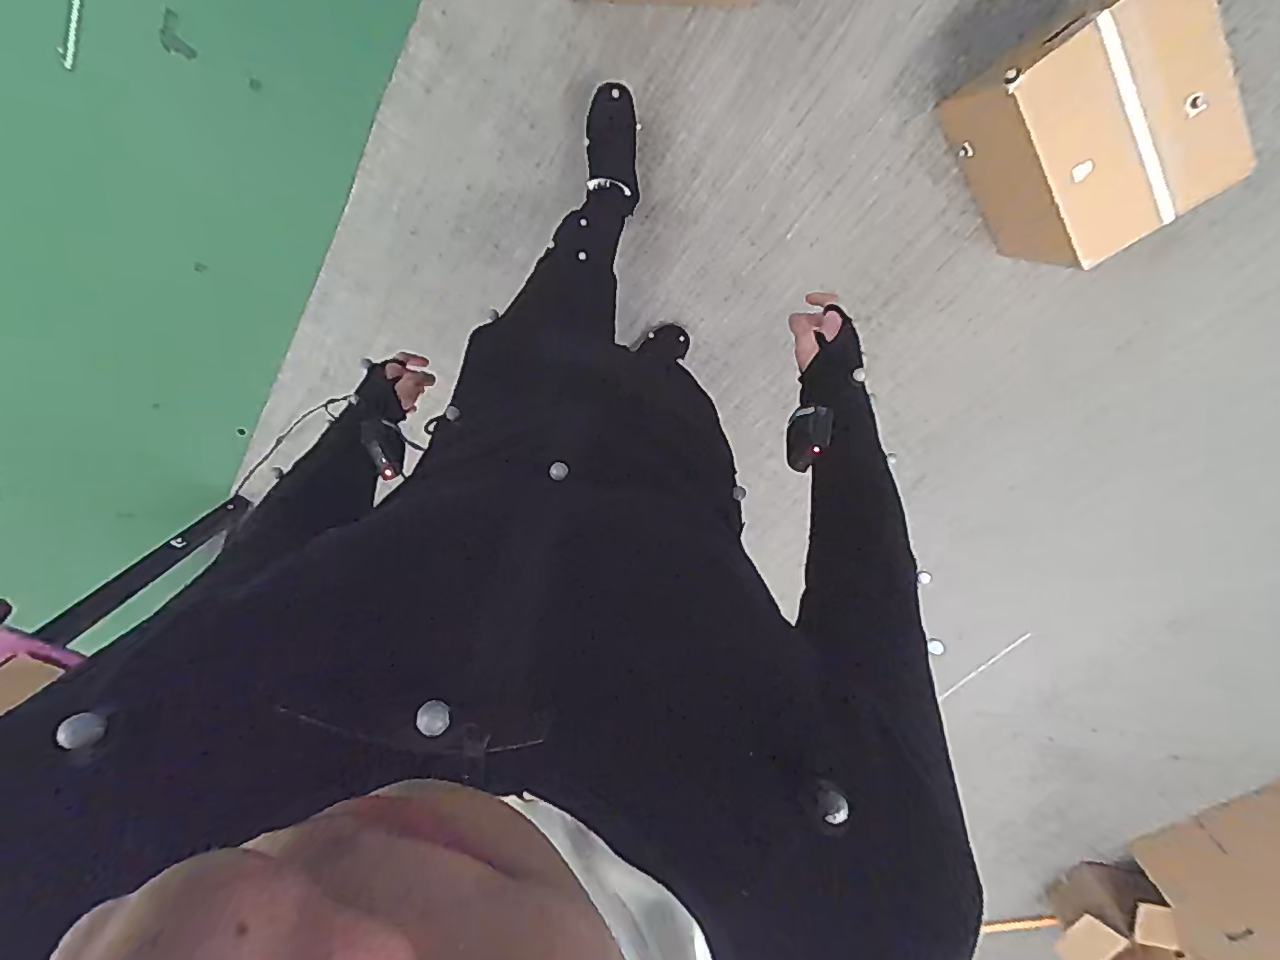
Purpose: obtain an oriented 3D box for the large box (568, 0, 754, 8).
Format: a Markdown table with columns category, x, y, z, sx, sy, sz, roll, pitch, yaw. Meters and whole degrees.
| category | x | y | z | sx | sy | sz | roll | pitch | yaw |
| --- | --- | --- | --- | --- | --- | --- | --- | --- | --- |
| large box | 0.038 | -1.094 | 0.974 | 0.408 | 0.320 | 0.320 | 3 | 116 | 2 |
